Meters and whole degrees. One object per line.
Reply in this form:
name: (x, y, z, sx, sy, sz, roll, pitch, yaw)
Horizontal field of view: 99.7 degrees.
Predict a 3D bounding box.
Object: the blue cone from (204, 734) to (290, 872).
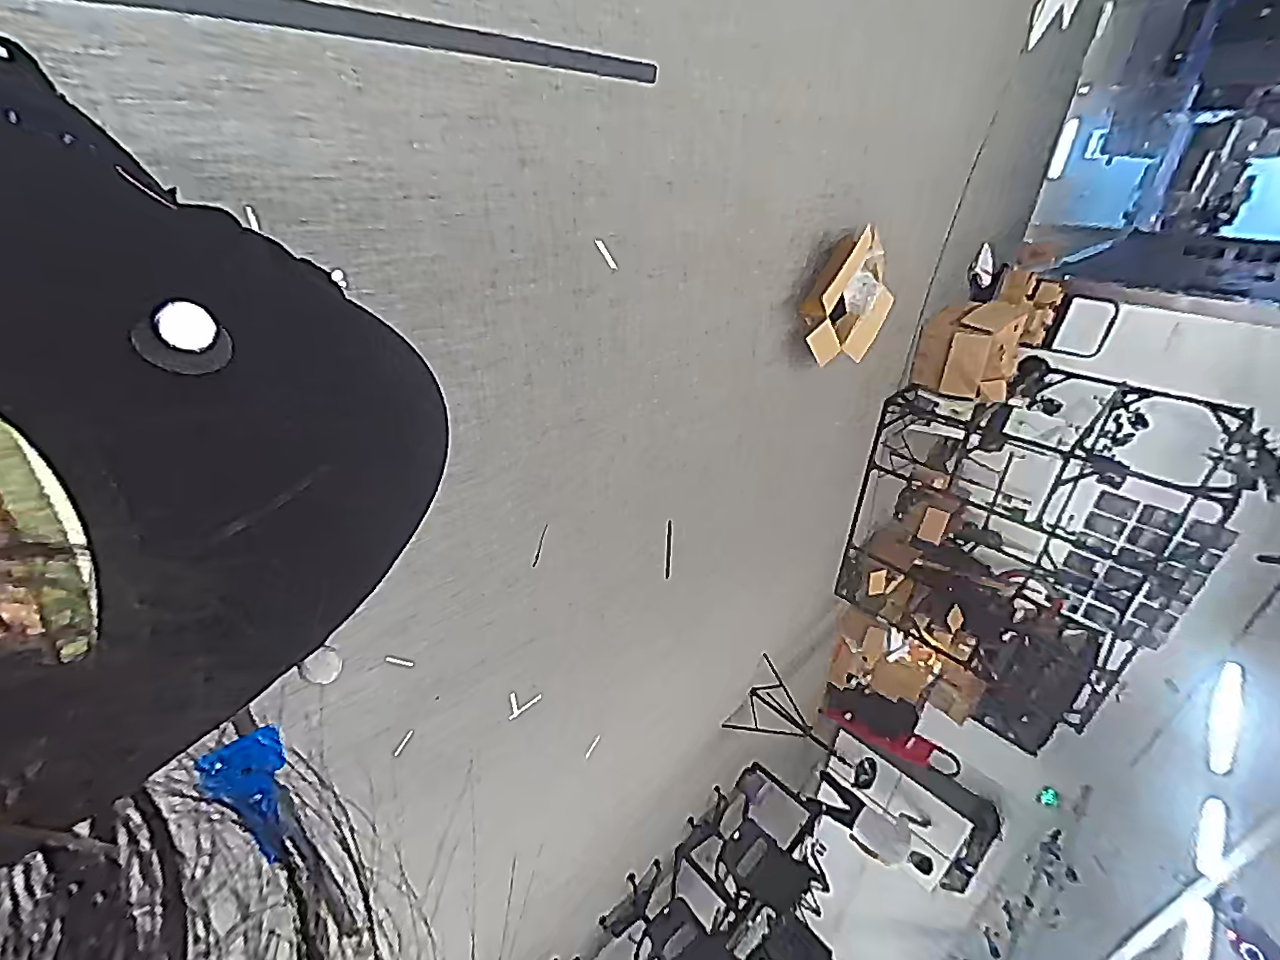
blue cone: (-1.049, 0.930, 1.511, 0.193, 0.380, 0.192, -22, 128, -39)
